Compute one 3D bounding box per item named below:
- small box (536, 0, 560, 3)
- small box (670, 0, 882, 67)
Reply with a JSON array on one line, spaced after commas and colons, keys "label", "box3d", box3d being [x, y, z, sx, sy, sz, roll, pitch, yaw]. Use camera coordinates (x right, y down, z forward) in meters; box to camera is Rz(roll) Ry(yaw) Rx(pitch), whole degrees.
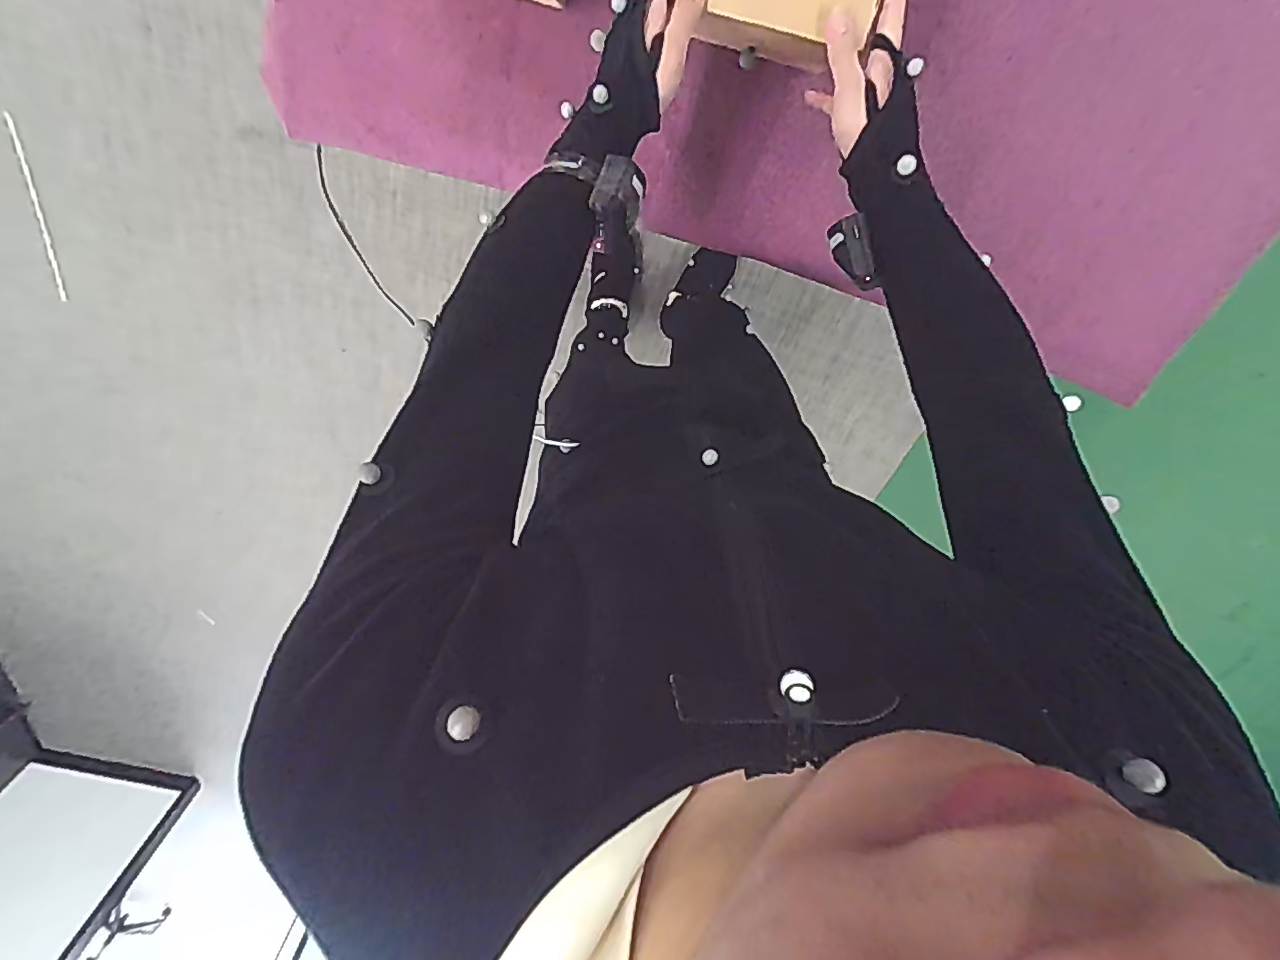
[{"label": "small box", "box3d": [-0.145, -0.555, 0.468, 0.168, 0.176, 0.179, 13, 122, -4]}, {"label": "small box", "box3d": [0.130, -0.496, 0.488, 0.179, 0.176, 0.168, 12, 123, -4]}]
